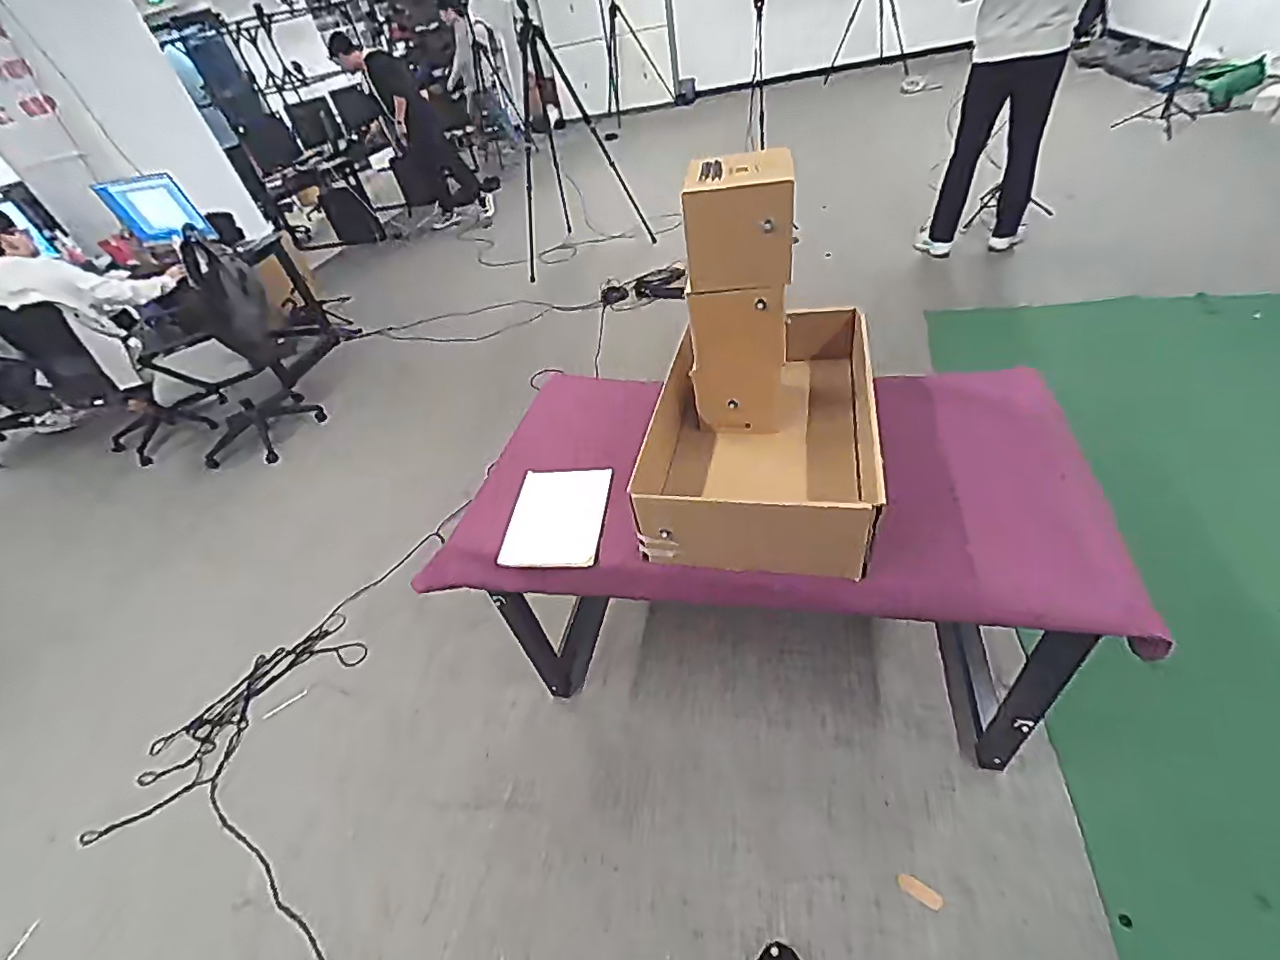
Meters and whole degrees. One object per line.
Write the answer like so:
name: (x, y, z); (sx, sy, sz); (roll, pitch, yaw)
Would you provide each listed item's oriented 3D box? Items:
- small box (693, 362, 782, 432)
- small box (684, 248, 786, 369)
small box: (0.218, -0.218, 1.168); (0.168, 0.176, 0.179); (2, 46, 17)
small box: (0.193, -0.329, 1.054); (0.179, 0.176, 0.168); (1, 46, 15)
